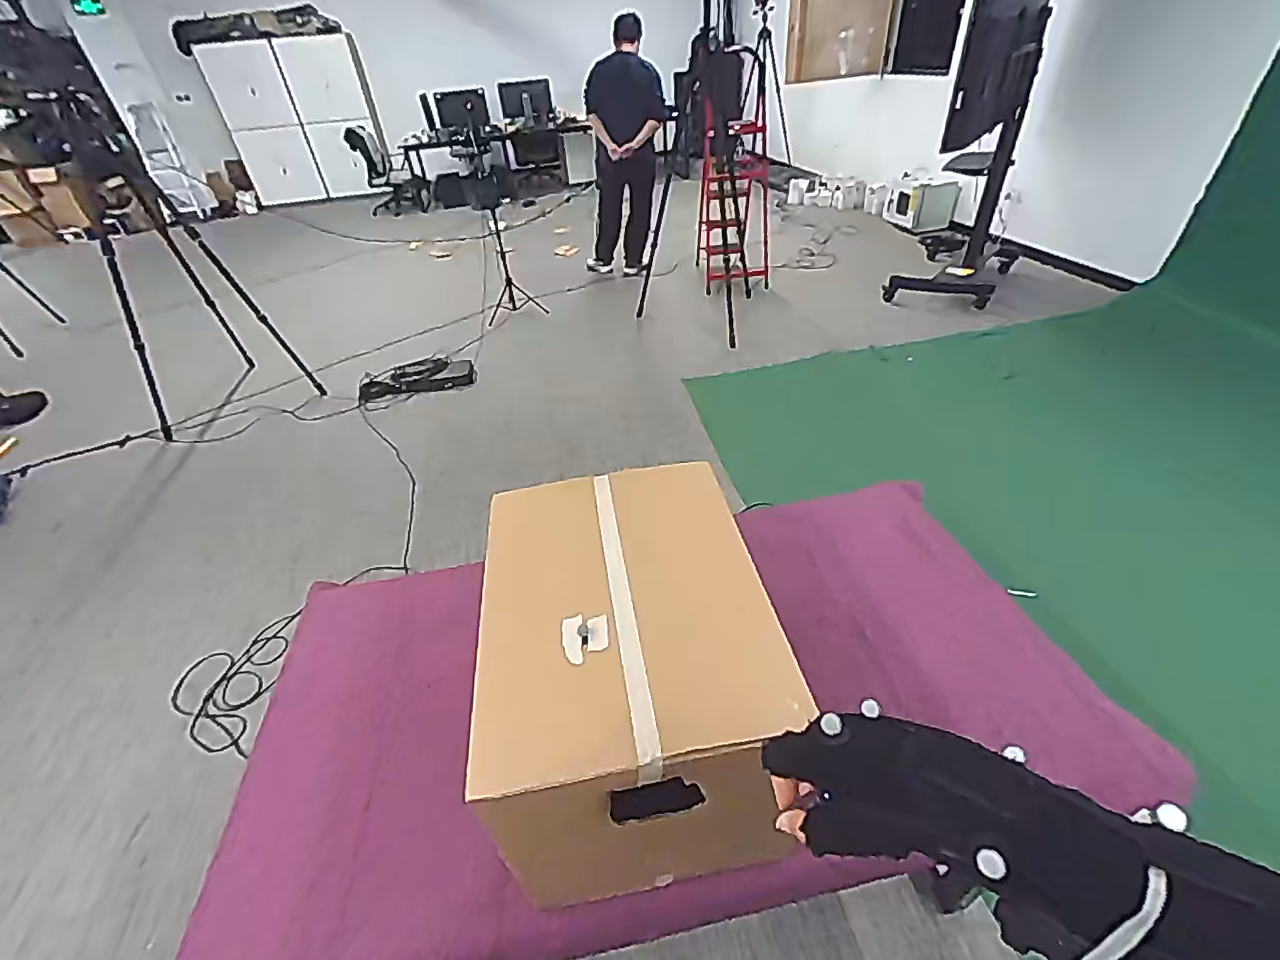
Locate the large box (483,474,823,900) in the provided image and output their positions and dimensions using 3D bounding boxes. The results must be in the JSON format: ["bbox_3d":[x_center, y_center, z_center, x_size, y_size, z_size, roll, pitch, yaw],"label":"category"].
[{"bbox_3d":[-0.010,0.246,0.718,0.320,0.320,0.408,-9,39,-5],"label":"large box"}]
